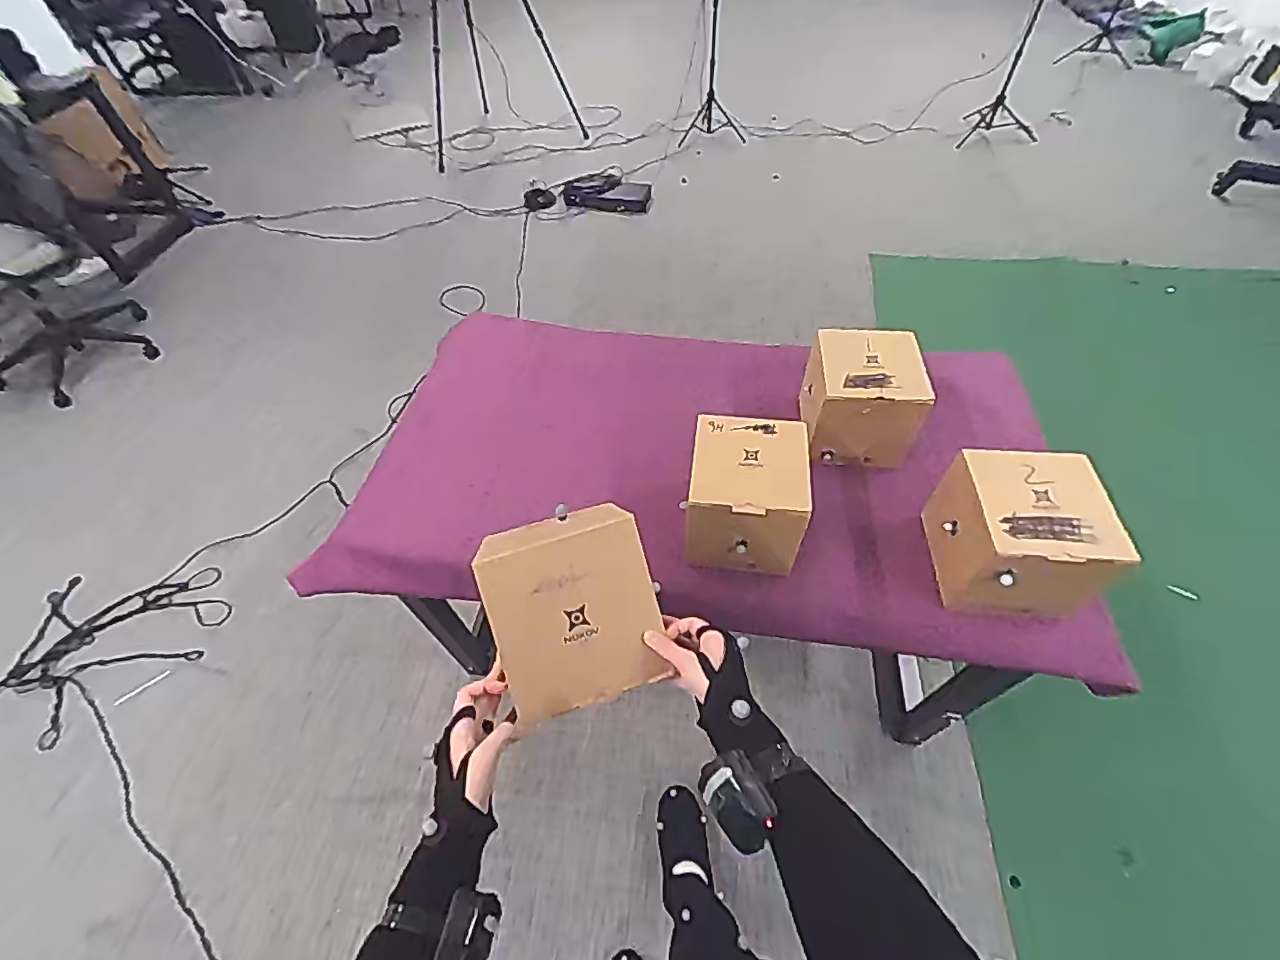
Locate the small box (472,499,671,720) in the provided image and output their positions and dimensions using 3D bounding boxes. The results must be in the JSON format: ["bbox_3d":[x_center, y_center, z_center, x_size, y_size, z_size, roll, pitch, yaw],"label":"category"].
[{"bbox_3d":[-0.079,0.129,0.611,0.168,0.176,0.179,-15,96,-12],"label":"small box"}]

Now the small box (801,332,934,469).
[{"bbox_3d":[0.385,-0.136,0.948,0.168,0.176,0.179,4,52,6],"label":"small box"}]

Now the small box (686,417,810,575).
[{"bbox_3d":[0.161,0.027,0.830,0.168,0.176,0.179,6,52,7],"label":"small box"}]
